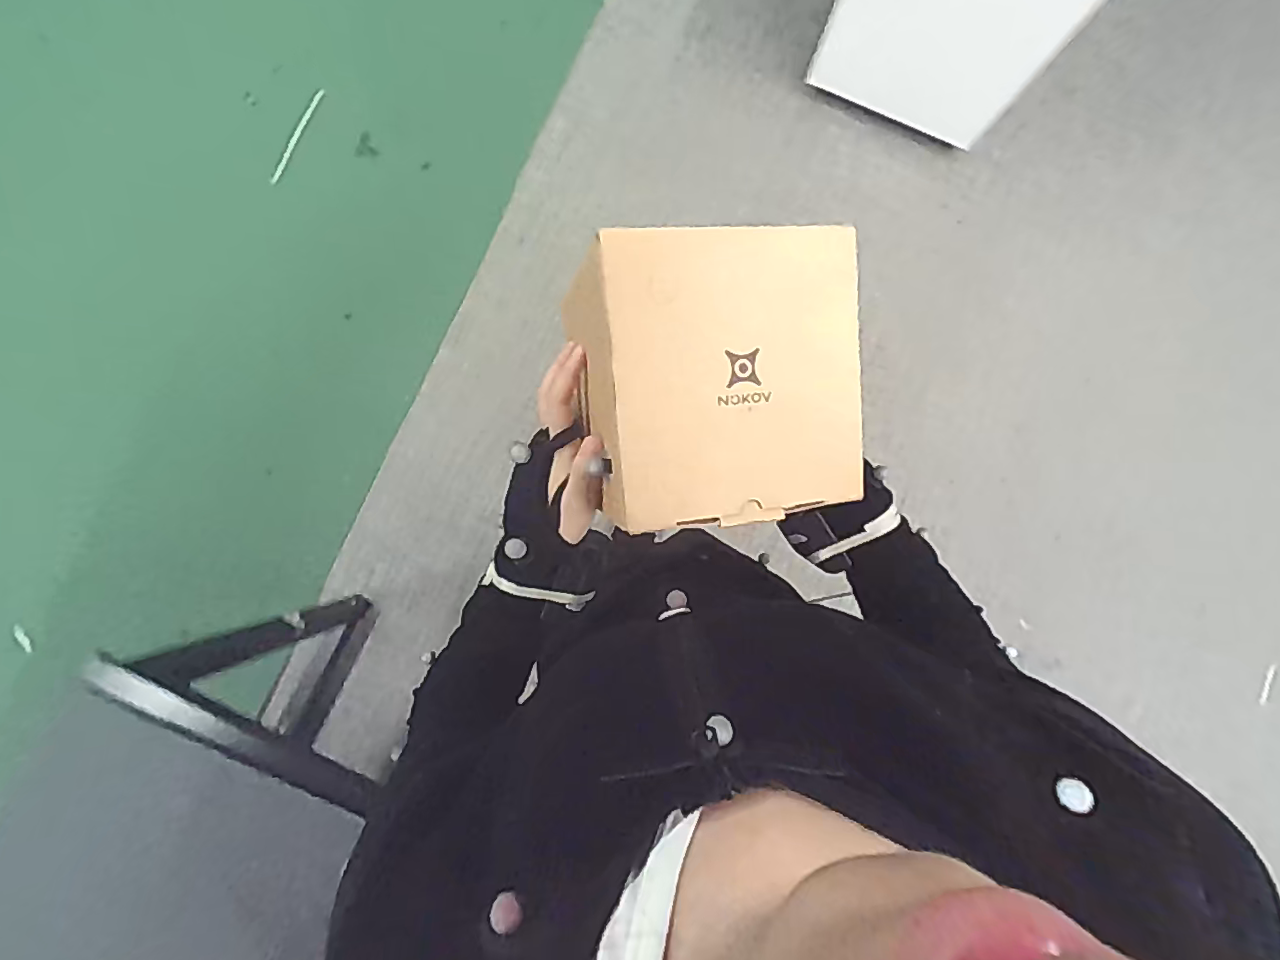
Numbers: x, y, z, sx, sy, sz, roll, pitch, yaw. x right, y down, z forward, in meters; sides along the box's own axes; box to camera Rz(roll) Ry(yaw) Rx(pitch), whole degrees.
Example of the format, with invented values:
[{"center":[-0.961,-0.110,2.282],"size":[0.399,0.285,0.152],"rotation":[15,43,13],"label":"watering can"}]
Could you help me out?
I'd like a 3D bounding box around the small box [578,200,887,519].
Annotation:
[{"center":[0.052,-0.078,0.392],"size":[0.168,0.176,0.179],"rotation":[-6,98,-14],"label":"small box"}]
